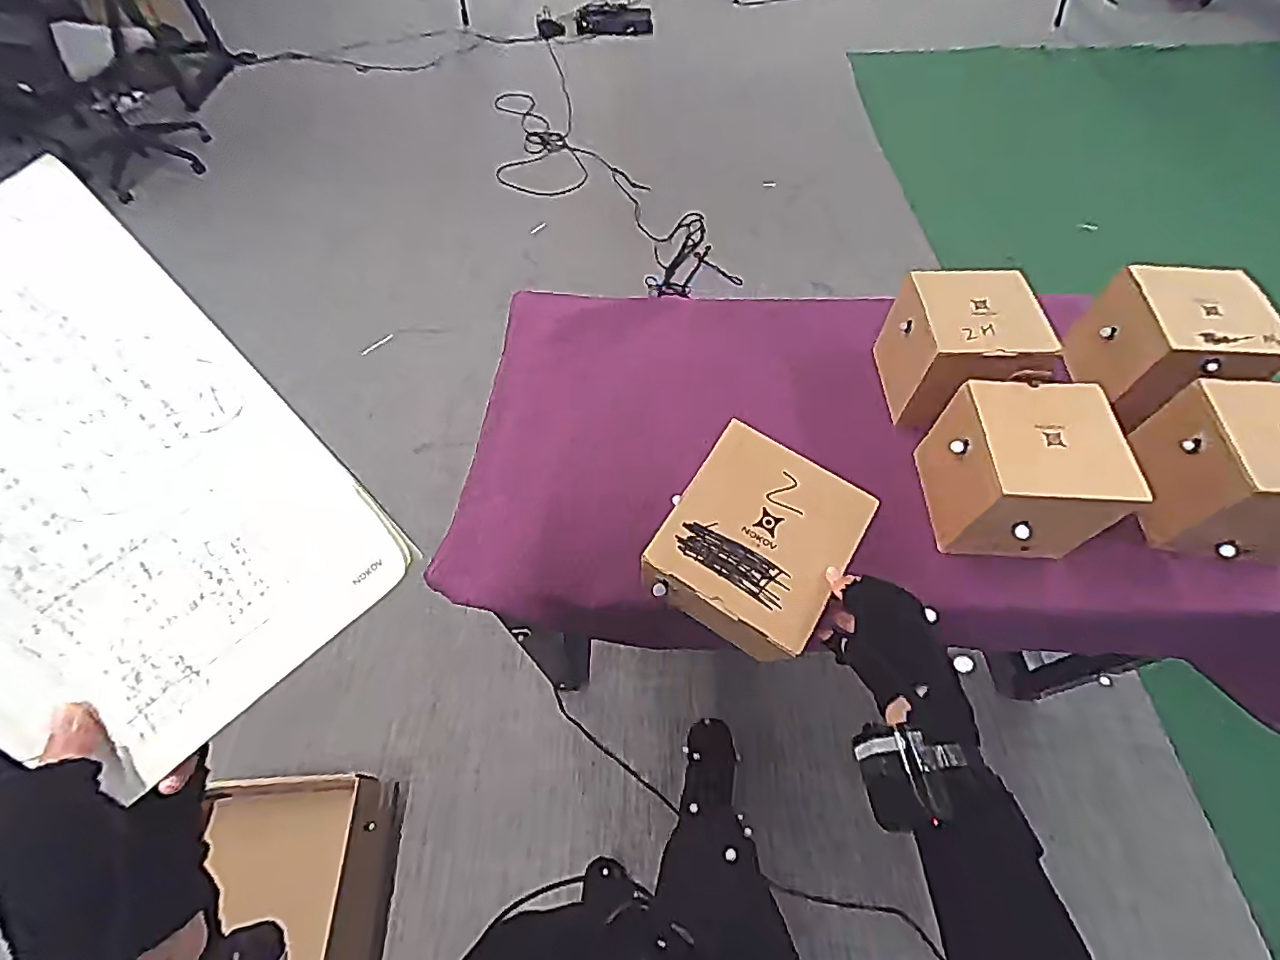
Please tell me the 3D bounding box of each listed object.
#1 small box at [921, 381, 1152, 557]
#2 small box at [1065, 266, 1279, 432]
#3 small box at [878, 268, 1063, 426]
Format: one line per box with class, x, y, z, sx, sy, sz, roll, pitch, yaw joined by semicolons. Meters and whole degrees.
small box;0.502;-0.009;0.719;0.168;0.176;0.179;3;59;4
small box;0.801;-0.197;0.825;0.168;0.176;0.179;5;58;5
small box;0.488;-0.200;0.835;0.168;0.176;0.179;1;58;2
